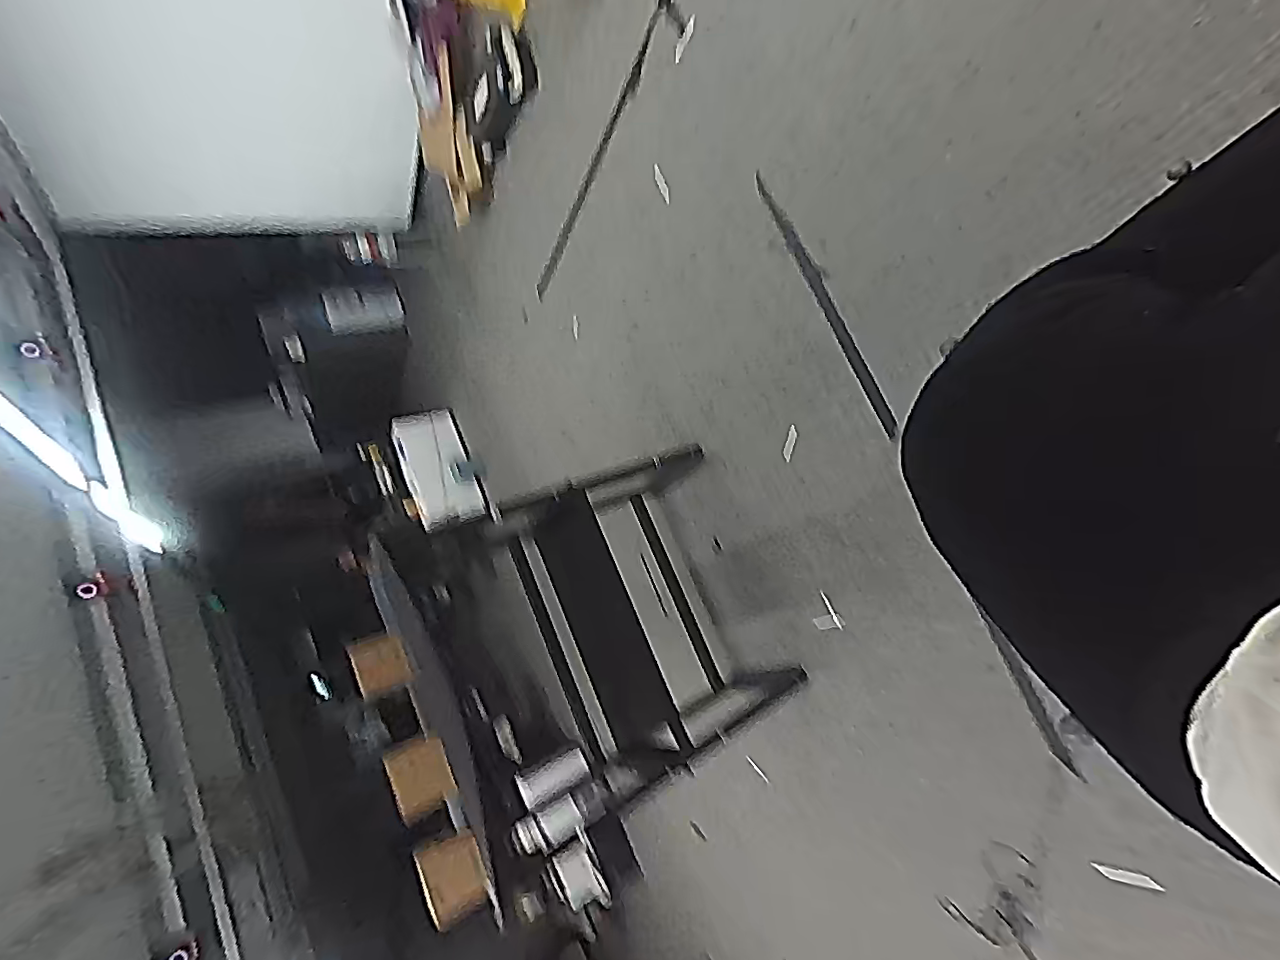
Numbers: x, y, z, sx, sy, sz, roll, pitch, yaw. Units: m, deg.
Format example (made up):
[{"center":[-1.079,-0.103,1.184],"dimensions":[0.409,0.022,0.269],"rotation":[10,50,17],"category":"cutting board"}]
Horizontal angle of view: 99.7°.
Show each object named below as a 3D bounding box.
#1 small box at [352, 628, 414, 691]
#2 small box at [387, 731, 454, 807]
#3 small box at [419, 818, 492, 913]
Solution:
[{"center":[-0.949,0.663,1.998],"dimensions":[0.179,0.176,0.168],"rotation":[-41,70,56],"category":"small box"},{"center":[-0.788,1.025,1.937],"dimensions":[0.168,0.176,0.179],"rotation":[-36,75,56],"category":"small box"},{"center":[-0.579,1.197,1.696],"dimensions":[0.168,0.176,0.179],"rotation":[65,148,12],"category":"small box"}]
